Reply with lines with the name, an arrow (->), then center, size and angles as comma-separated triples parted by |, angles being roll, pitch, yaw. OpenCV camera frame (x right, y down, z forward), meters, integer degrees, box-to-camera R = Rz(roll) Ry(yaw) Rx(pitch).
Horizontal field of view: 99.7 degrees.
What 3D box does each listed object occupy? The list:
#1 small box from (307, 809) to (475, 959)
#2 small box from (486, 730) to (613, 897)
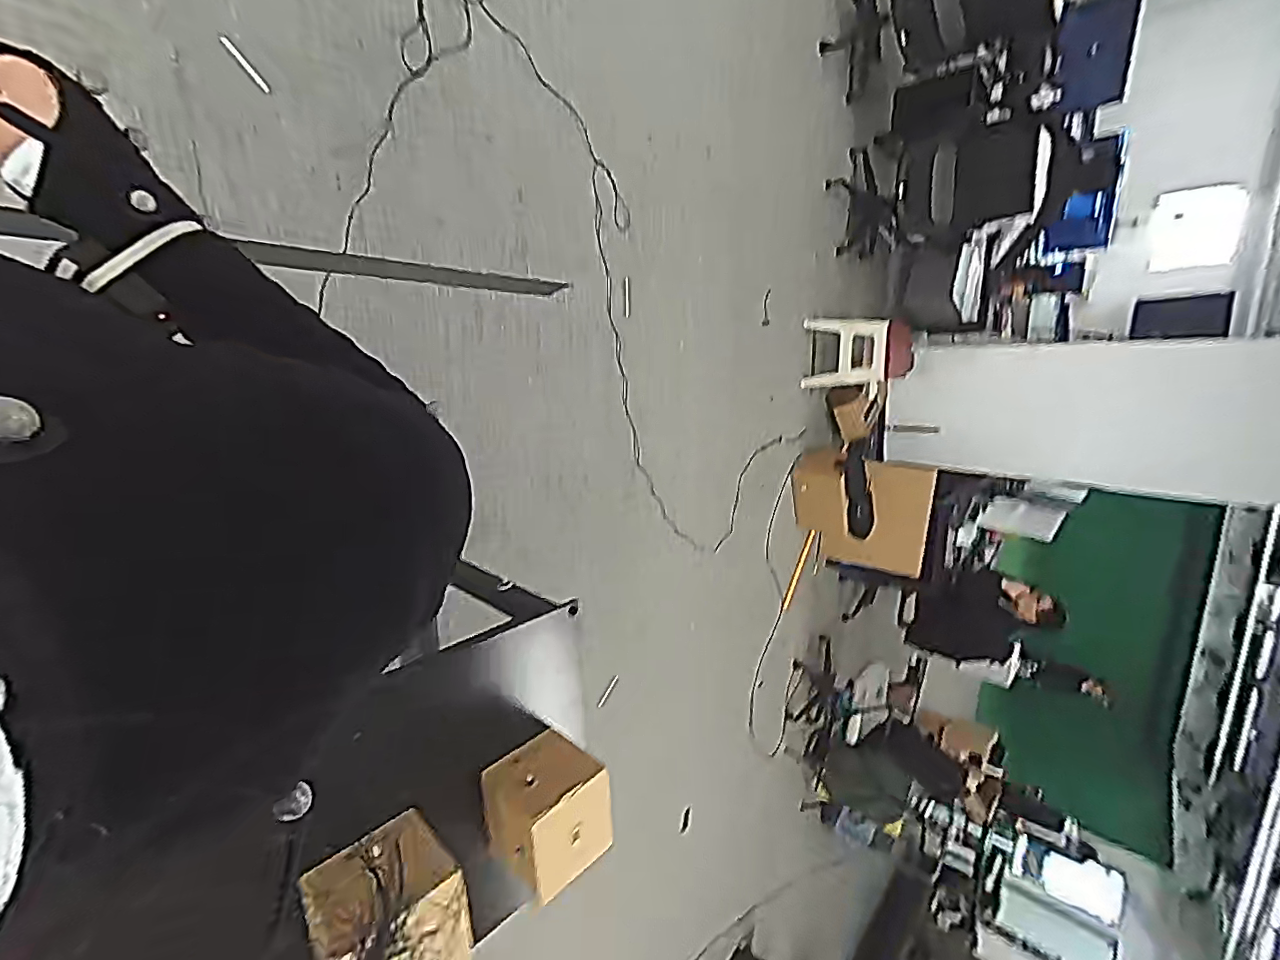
small box -> -0.367, 0.642, 0.800 | 0.168, 0.176, 0.179 | -16, 108, -44
small box -> -0.170, 0.598, 1.003 | 0.168, 0.176, 0.179 | -17, 110, -43
